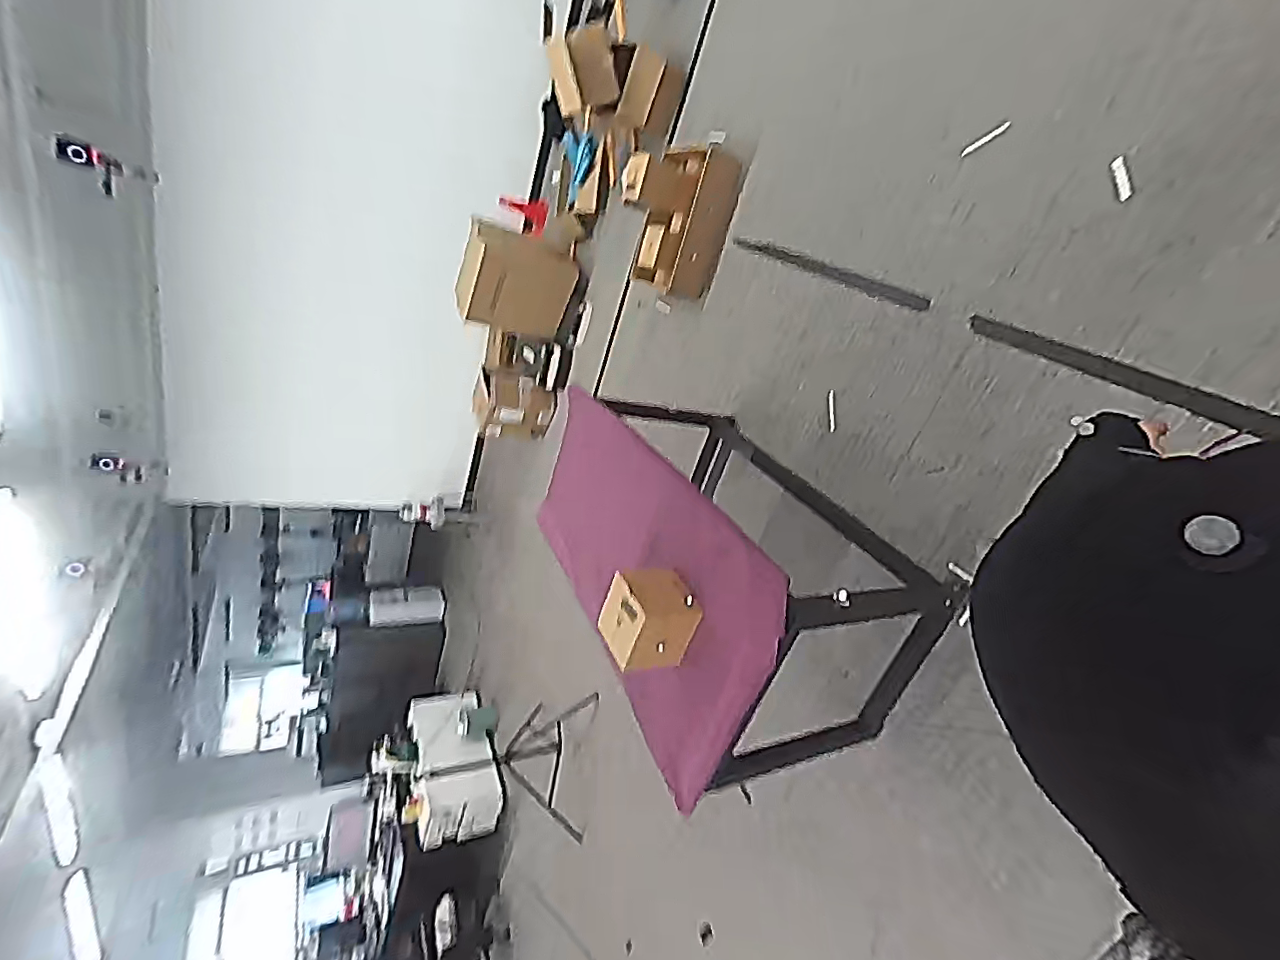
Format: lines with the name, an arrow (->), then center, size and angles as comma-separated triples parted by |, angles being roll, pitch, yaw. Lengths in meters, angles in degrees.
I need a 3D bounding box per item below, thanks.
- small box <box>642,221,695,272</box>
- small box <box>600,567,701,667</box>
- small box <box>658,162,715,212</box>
small box -> 0.141, -1.116, 2.580 | 0.168, 0.176, 0.179 | 43, 121, 52
small box -> 0.028, 0.330, 1.333 | 0.168, 0.176, 0.179 | 50, 128, 48
small box -> 0.215, -1.348, 2.491 | 0.179, 0.176, 0.168 | 44, 124, 50
